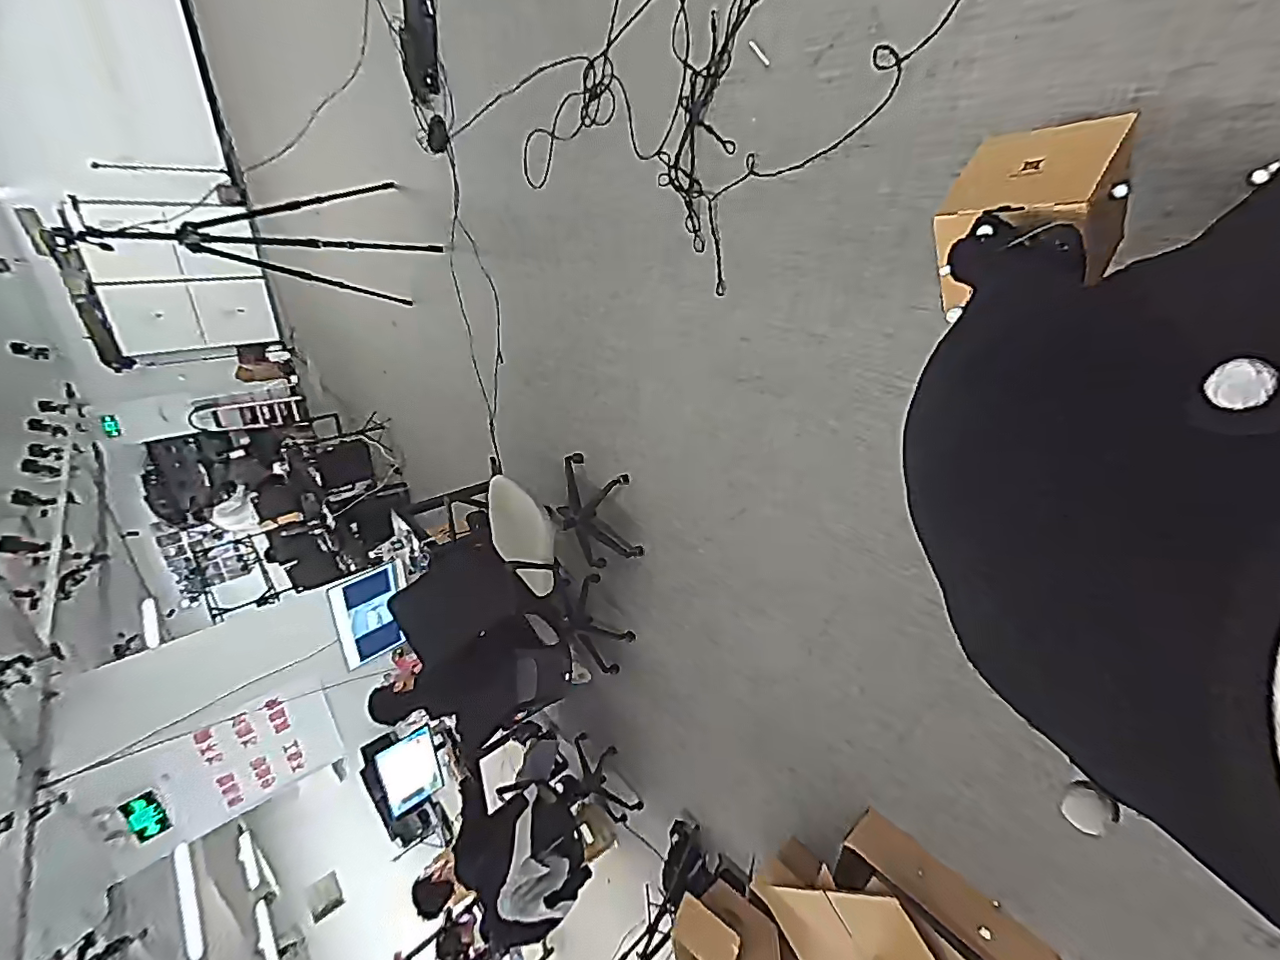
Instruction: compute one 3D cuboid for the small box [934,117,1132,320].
[{"bbox_3d":[0.526,-0.345,0.735,0.168,0.179,0.176,20,157,45],"label":"small box"}]
